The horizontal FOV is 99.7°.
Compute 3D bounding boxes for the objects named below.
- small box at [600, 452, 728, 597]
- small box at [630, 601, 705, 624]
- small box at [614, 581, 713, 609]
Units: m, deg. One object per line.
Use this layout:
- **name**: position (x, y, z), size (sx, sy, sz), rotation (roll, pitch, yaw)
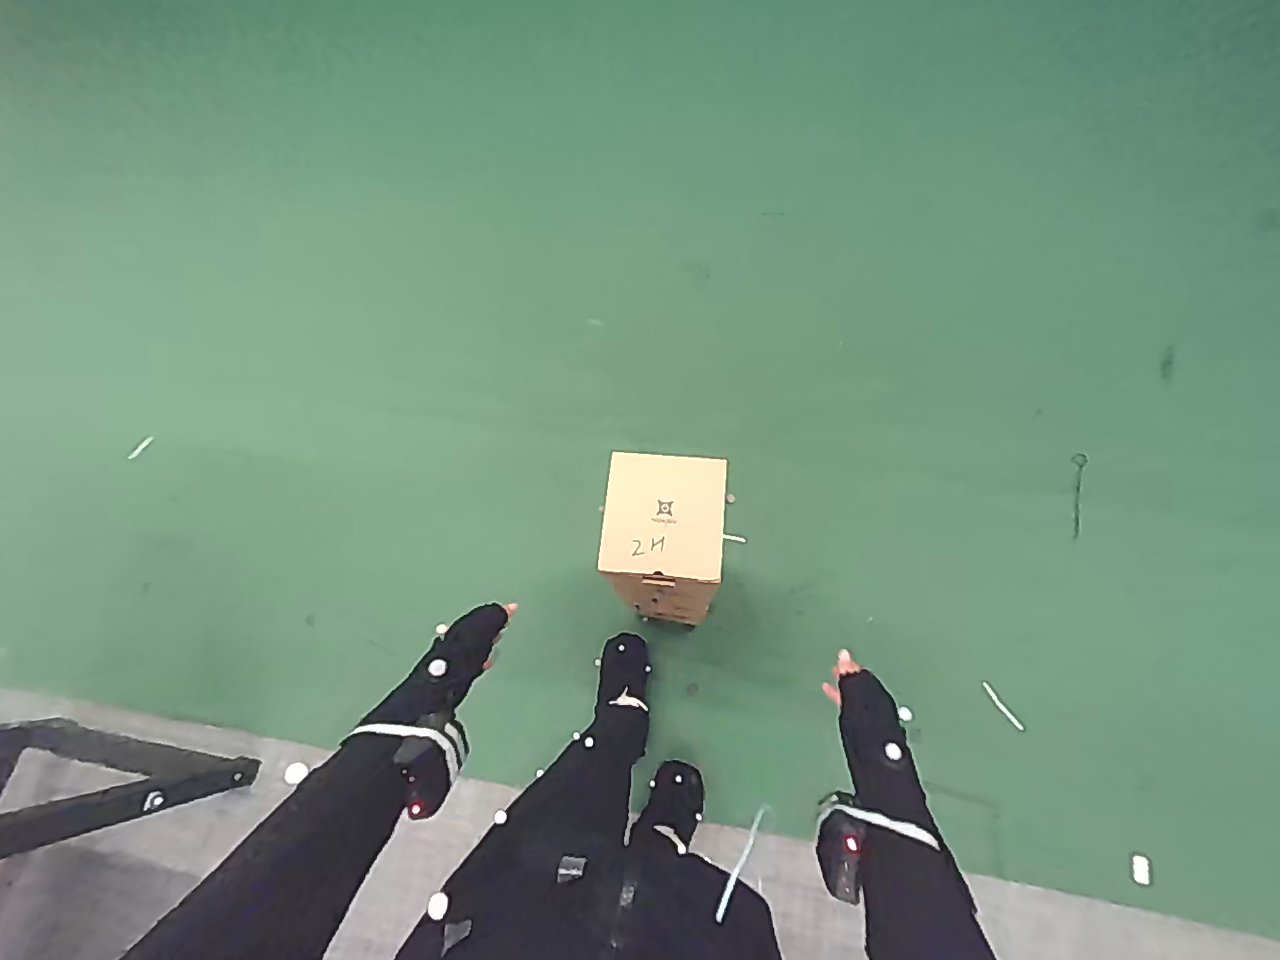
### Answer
- **small box**: position (0.039, 0.073, 0.822), size (0.168, 0.176, 0.179), rotation (4, 72, 6)
- **small box**: position (0.078, 0.240, 1.283), size (0.168, 0.176, 0.179), rotation (8, 72, 7)
- **small box**: position (0.051, 0.128, 0.976), size (0.168, 0.176, 0.179), rotation (5, 72, 6)
